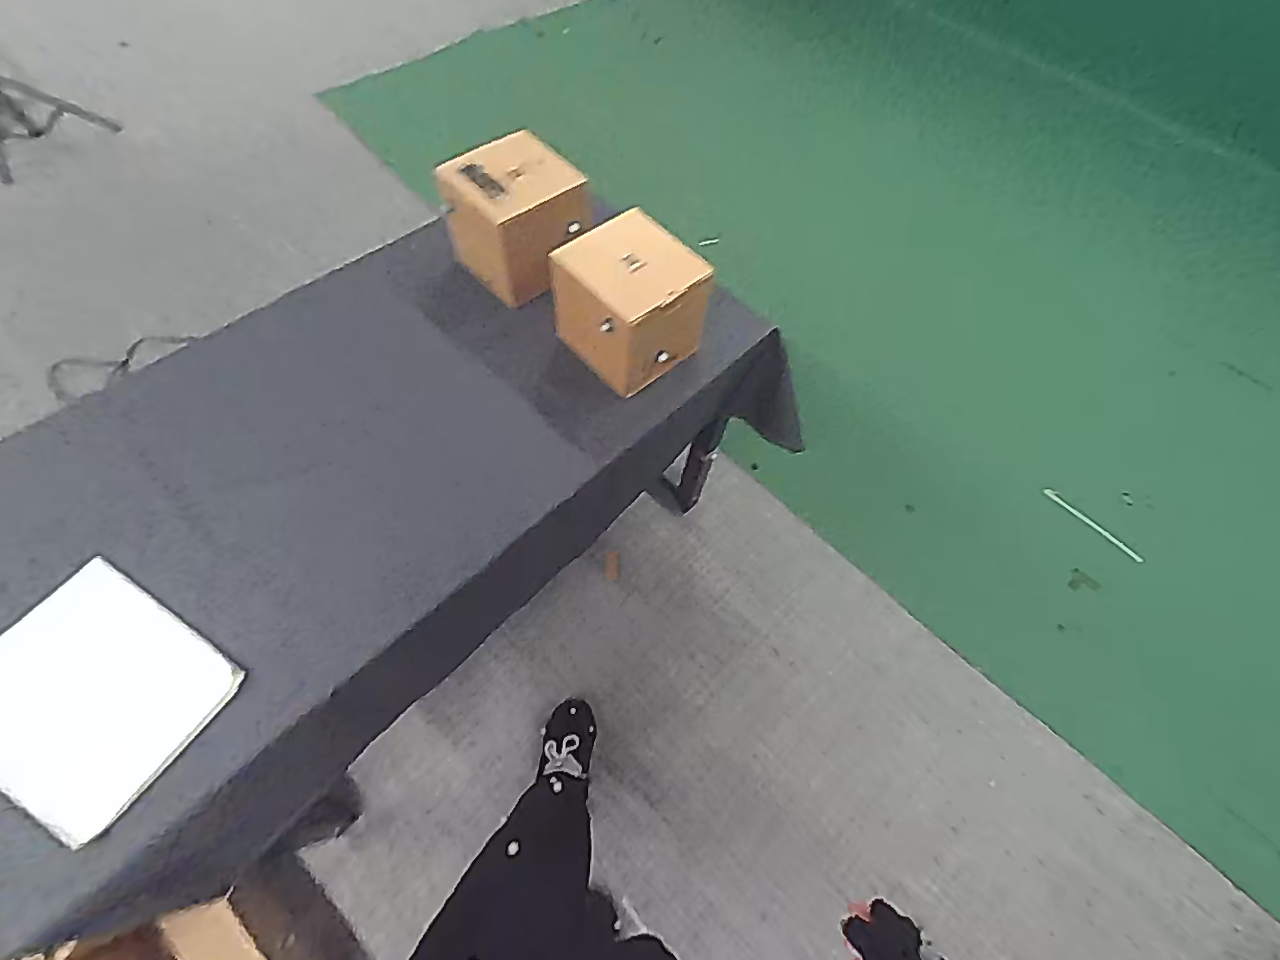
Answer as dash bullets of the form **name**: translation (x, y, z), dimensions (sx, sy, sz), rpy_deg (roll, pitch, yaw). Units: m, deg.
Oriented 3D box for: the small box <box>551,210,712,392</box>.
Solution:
- **small box**: translation (-0.020, -0.272, 0.838), dimensions (0.168, 0.176, 0.179), rpy_deg (-38, 71, -22)
